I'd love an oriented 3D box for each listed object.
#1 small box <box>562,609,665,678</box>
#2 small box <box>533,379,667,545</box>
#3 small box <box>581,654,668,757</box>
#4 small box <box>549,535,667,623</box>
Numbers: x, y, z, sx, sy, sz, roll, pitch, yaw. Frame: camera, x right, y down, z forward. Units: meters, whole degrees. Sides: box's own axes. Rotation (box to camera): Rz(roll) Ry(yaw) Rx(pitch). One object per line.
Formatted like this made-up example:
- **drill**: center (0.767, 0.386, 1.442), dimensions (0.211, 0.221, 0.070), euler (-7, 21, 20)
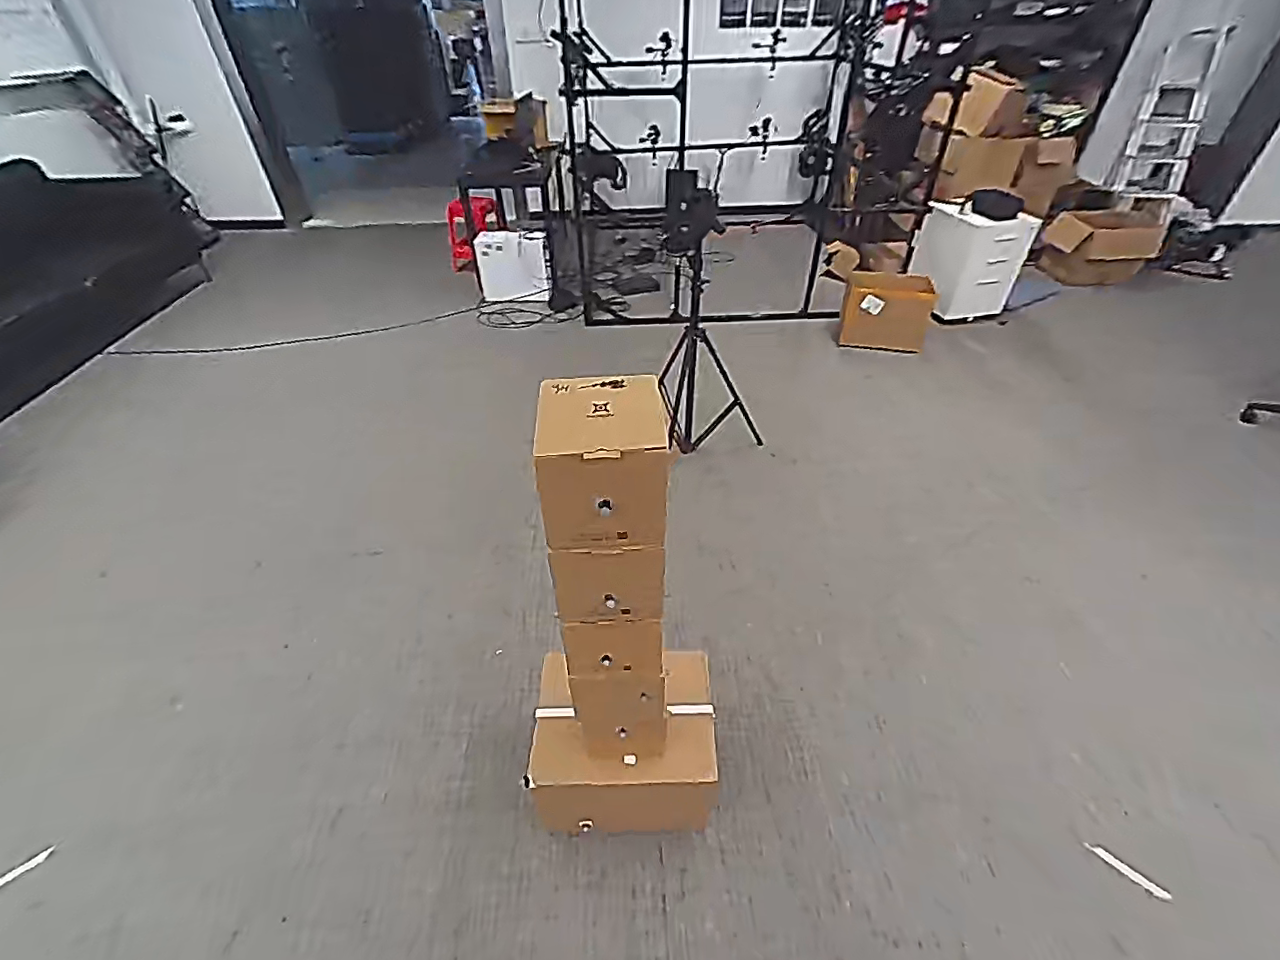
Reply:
- **small box**: center (-0.046, 0.231, 0.970), dimensions (0.168, 0.176, 0.179), euler (-2, 42, -2)
- **small box**: center (-0.051, -0.022, 0.759), dimensions (0.168, 0.176, 0.179), euler (-3, 42, -3)
- **small box**: center (-0.033, 0.484, 1.176), dimensions (0.179, 0.176, 0.168), euler (-2, 42, -3)
- **small box**: center (-0.049, 0.105, 0.864), dimensions (0.168, 0.176, 0.179), euler (-3, 42, -2)
